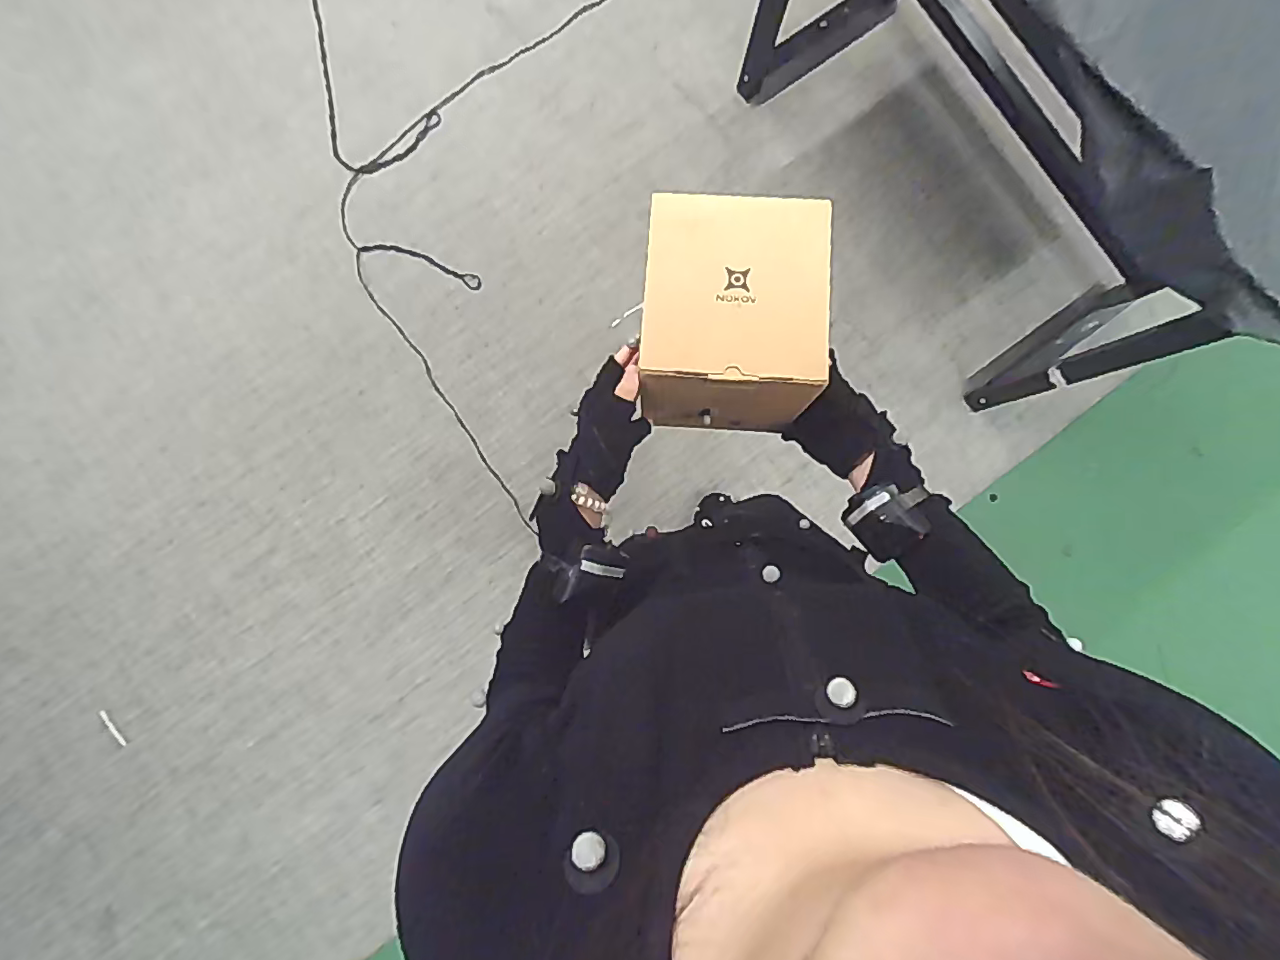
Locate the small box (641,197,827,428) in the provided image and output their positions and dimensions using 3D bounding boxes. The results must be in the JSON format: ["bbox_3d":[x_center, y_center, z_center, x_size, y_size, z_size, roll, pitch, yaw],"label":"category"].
[{"bbox_3d":[0.088,-0.164,0.573,0.168,0.176,0.179,4,82,2],"label":"small box"}]
